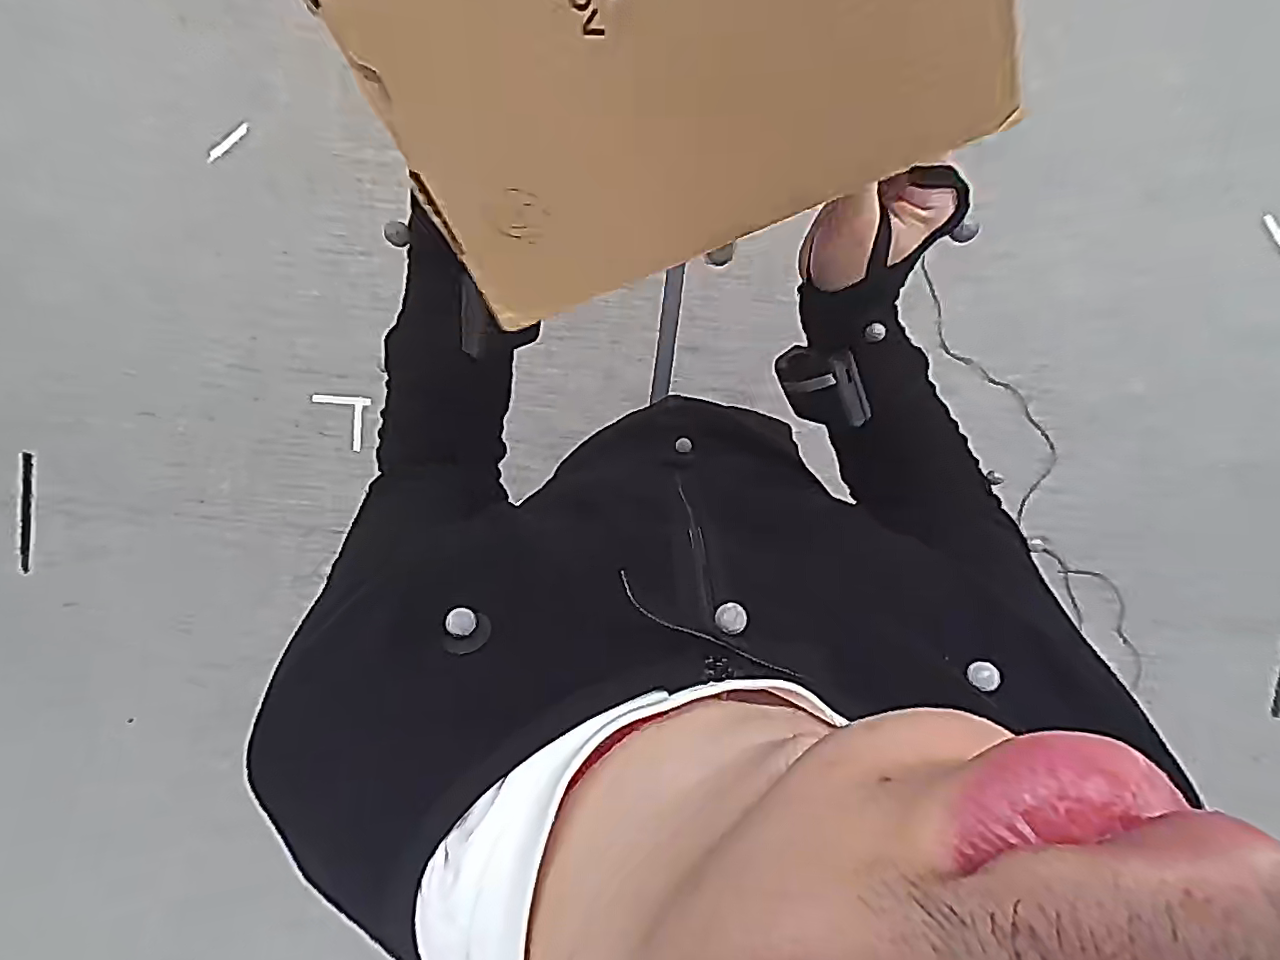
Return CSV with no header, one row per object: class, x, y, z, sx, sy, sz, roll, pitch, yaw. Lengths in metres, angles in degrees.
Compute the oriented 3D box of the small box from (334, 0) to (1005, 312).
small box,0.006,-0.196,0.213,0.179,0.176,0.168,-18,121,20
